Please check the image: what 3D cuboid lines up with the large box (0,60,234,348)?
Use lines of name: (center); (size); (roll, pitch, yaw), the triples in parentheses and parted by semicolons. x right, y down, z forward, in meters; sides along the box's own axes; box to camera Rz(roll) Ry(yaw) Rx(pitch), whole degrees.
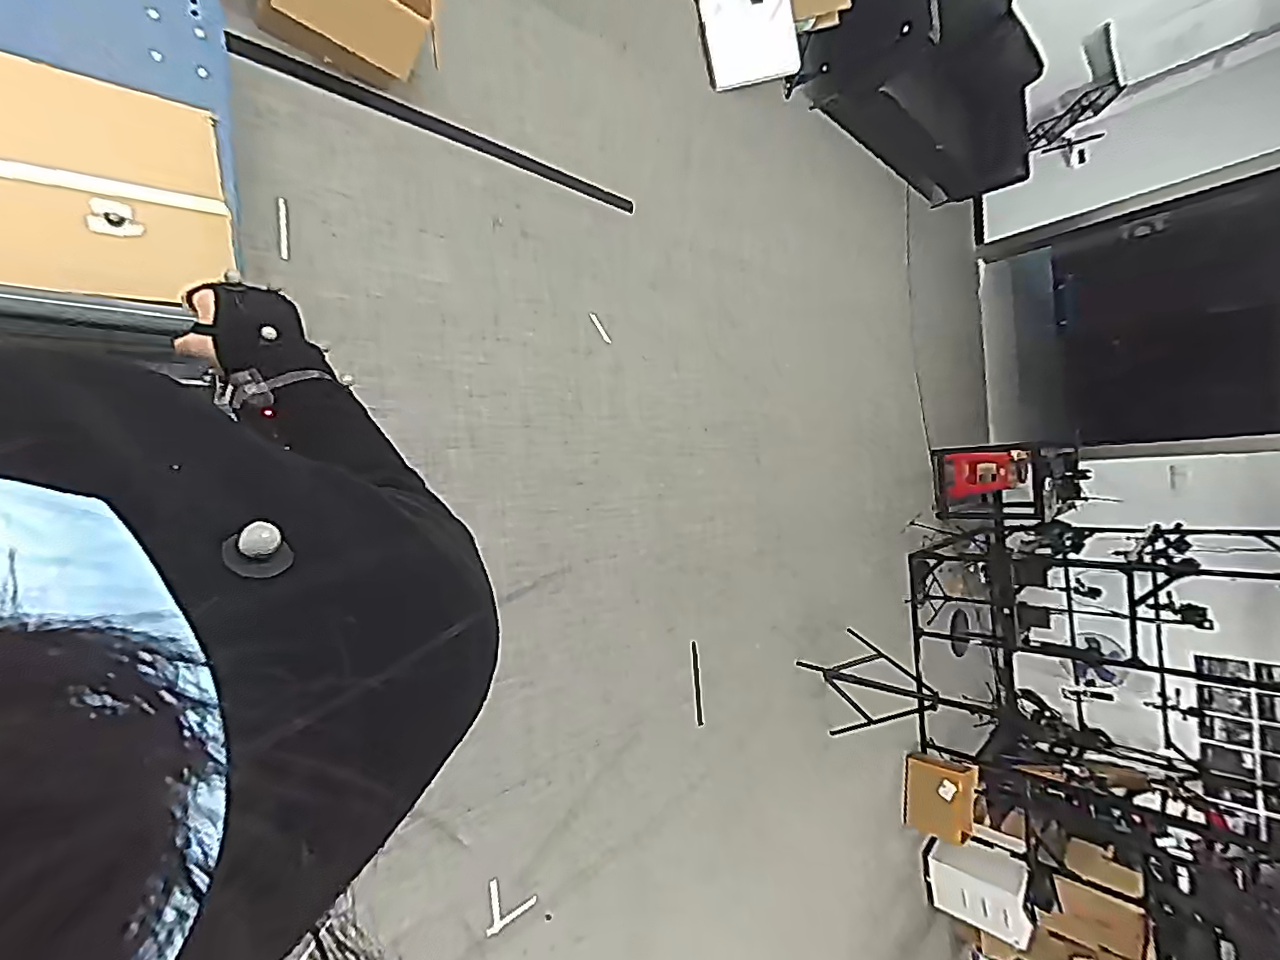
large box: (-0.921, -0.395, 0.831); (0.408, 0.320, 0.320); (-10, 95, -46)
